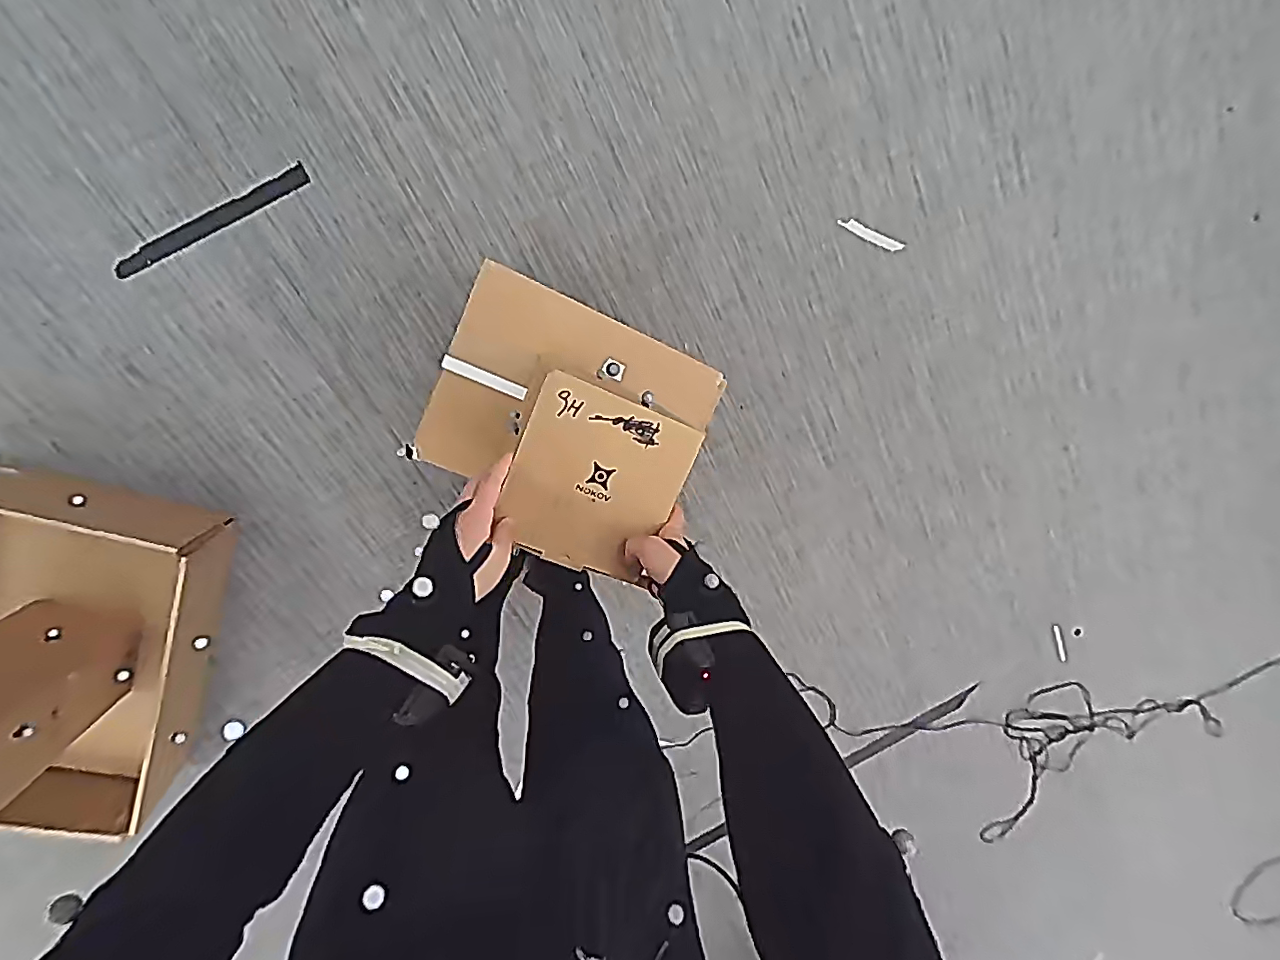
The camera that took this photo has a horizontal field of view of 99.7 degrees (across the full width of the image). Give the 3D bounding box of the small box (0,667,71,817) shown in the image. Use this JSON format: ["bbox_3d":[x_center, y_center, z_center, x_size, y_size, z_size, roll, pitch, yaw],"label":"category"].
[{"bbox_3d":[-1.021,0.398,0.812,0.179,0.176,0.168,12,102,-13],"label":"small box"}]

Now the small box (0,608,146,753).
[{"bbox_3d":[-1.048,0.349,0.964,0.179,0.176,0.168,17,102,-16],"label":"small box"}]

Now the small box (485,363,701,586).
[{"bbox_3d":[-0.058,-0.015,0.605,0.168,0.176,0.179,21,101,-17],"label":"small box"}]
